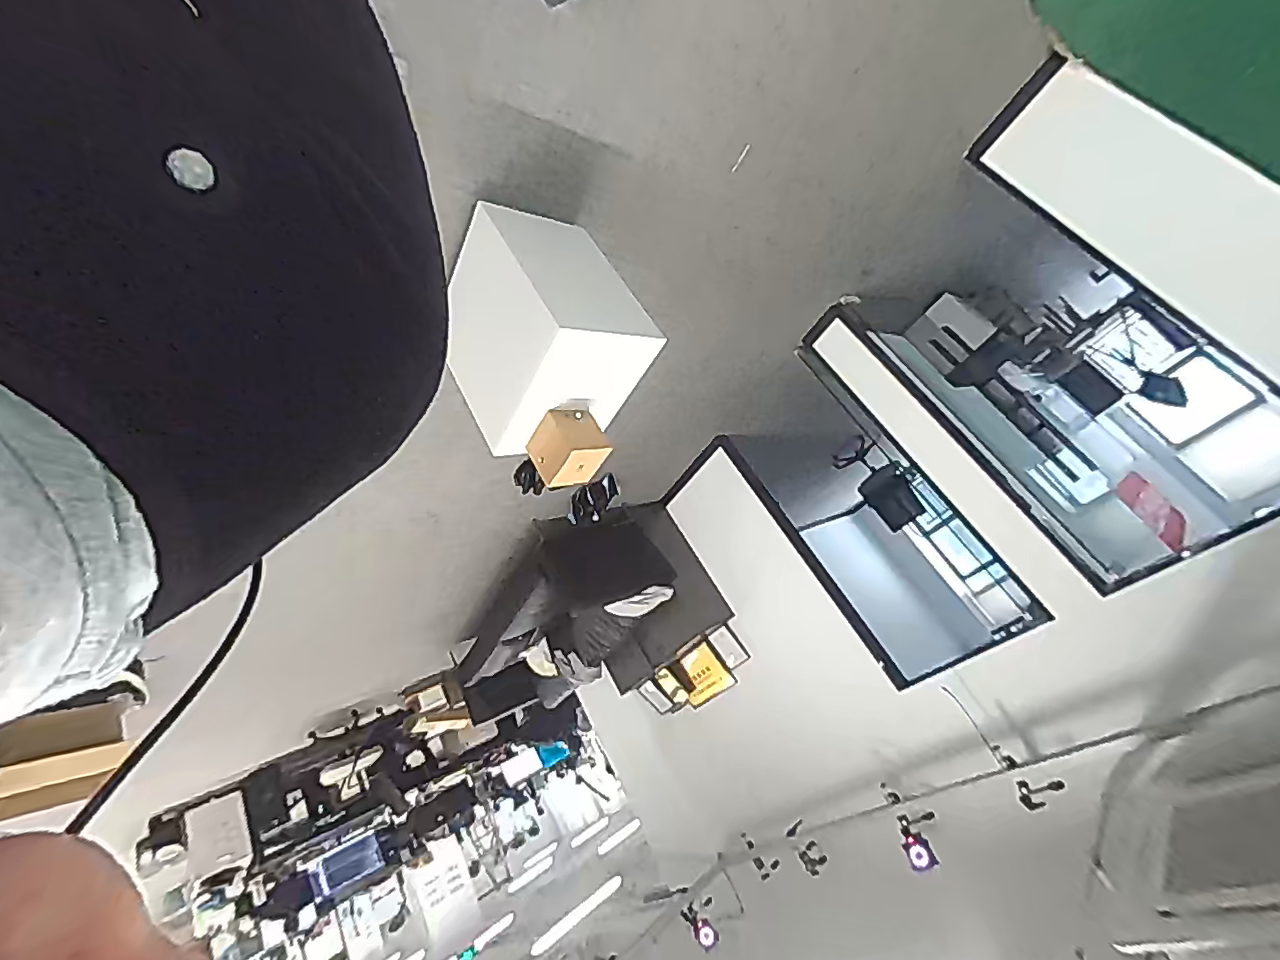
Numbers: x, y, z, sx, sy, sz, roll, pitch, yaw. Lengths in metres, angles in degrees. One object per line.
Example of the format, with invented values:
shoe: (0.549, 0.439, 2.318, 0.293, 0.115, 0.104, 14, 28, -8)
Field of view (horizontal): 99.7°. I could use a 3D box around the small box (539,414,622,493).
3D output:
small box: (-0.193, -0.086, 1.686, 0.168, 0.176, 0.179, -10, 146, -44)
